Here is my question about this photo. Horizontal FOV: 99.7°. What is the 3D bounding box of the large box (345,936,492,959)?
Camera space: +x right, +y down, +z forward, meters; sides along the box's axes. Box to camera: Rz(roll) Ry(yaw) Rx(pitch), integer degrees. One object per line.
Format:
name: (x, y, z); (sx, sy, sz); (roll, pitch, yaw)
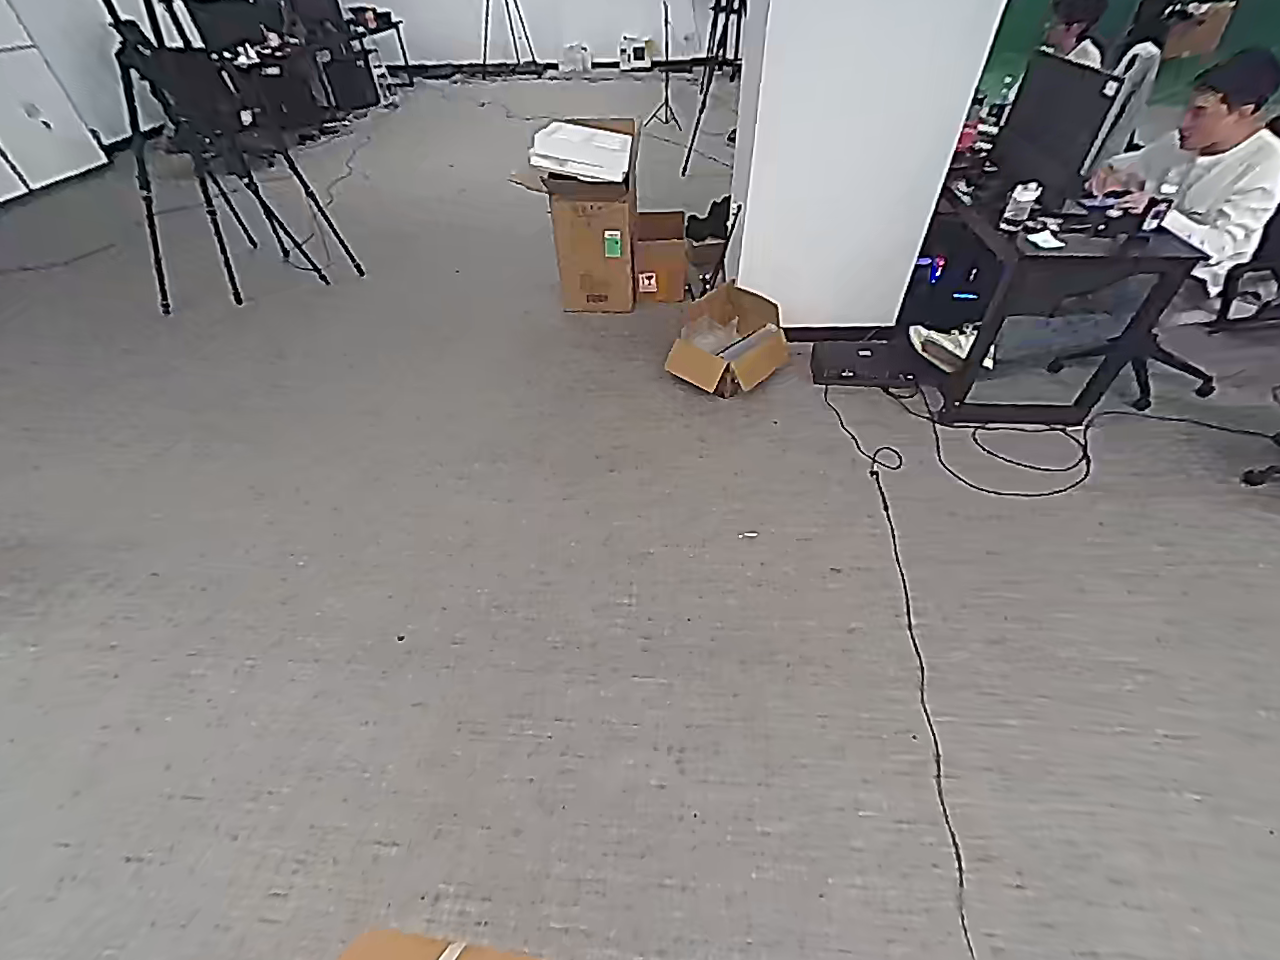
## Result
large box: (-0.311, 0.834, 0.601); (0.320, 0.408, 0.320); (2, 83, 9)
